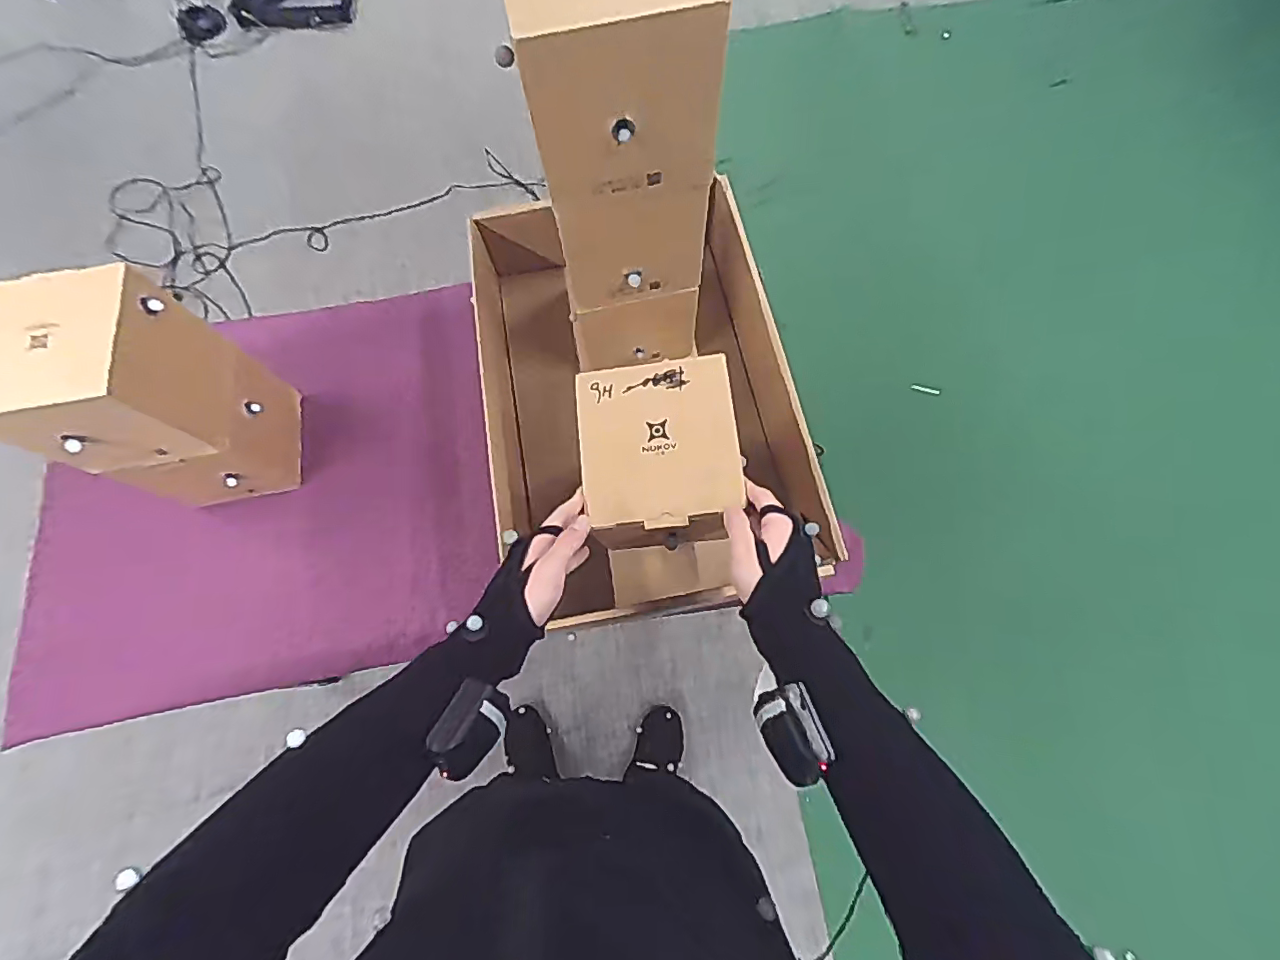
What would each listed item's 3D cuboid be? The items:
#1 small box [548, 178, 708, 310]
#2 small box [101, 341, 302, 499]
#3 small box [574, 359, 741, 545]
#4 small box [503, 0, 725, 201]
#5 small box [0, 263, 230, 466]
[{"bbox_3d":[-0.023,-0.339,0.656,0.168,0.176,0.179,-12,73,-1],"label":"small box"},{"bbox_3d":[-0.639,-0.079,0.814,0.168,0.176,0.179,-10,71,-3],"label":"small box"},{"bbox_3d":[0.025,-0.020,0.641,0.168,0.176,0.179,-7,76,5],"label":"small box"},{"bbox_3d":[-0.027,-0.386,0.497,0.168,0.176,0.179,-11,72,-2],"label":"small box"},{"bbox_3d":[-0.643,-0.127,0.659,0.168,0.176,0.179,-10,71,-3],"label":"small box"}]
